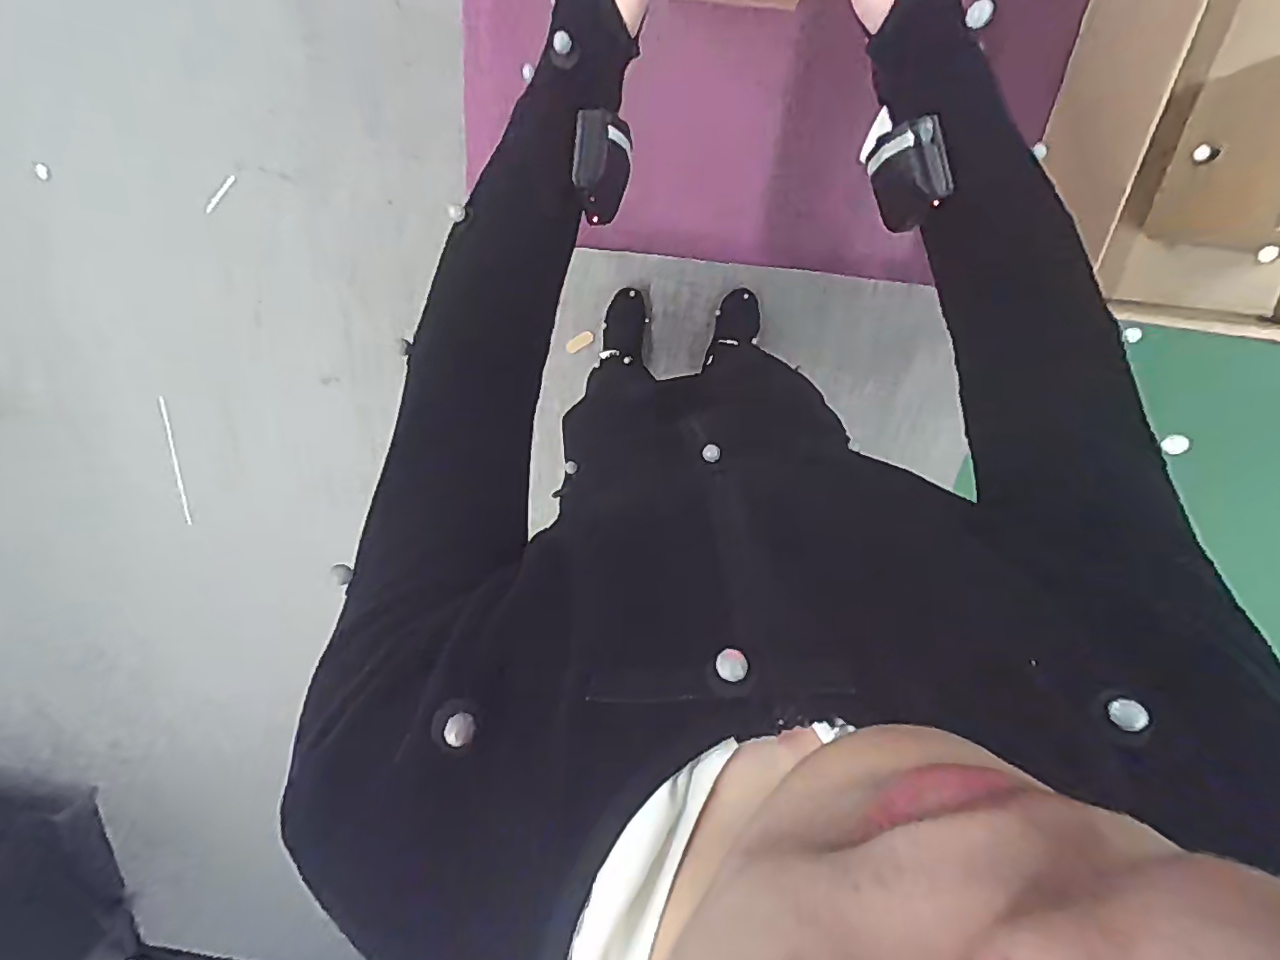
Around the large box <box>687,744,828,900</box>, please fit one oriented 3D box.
[{"bbox_3d":[0.418,1.255,1.998,0.408,0.320,0.320,-23,108,13],"label":"large box"}]
